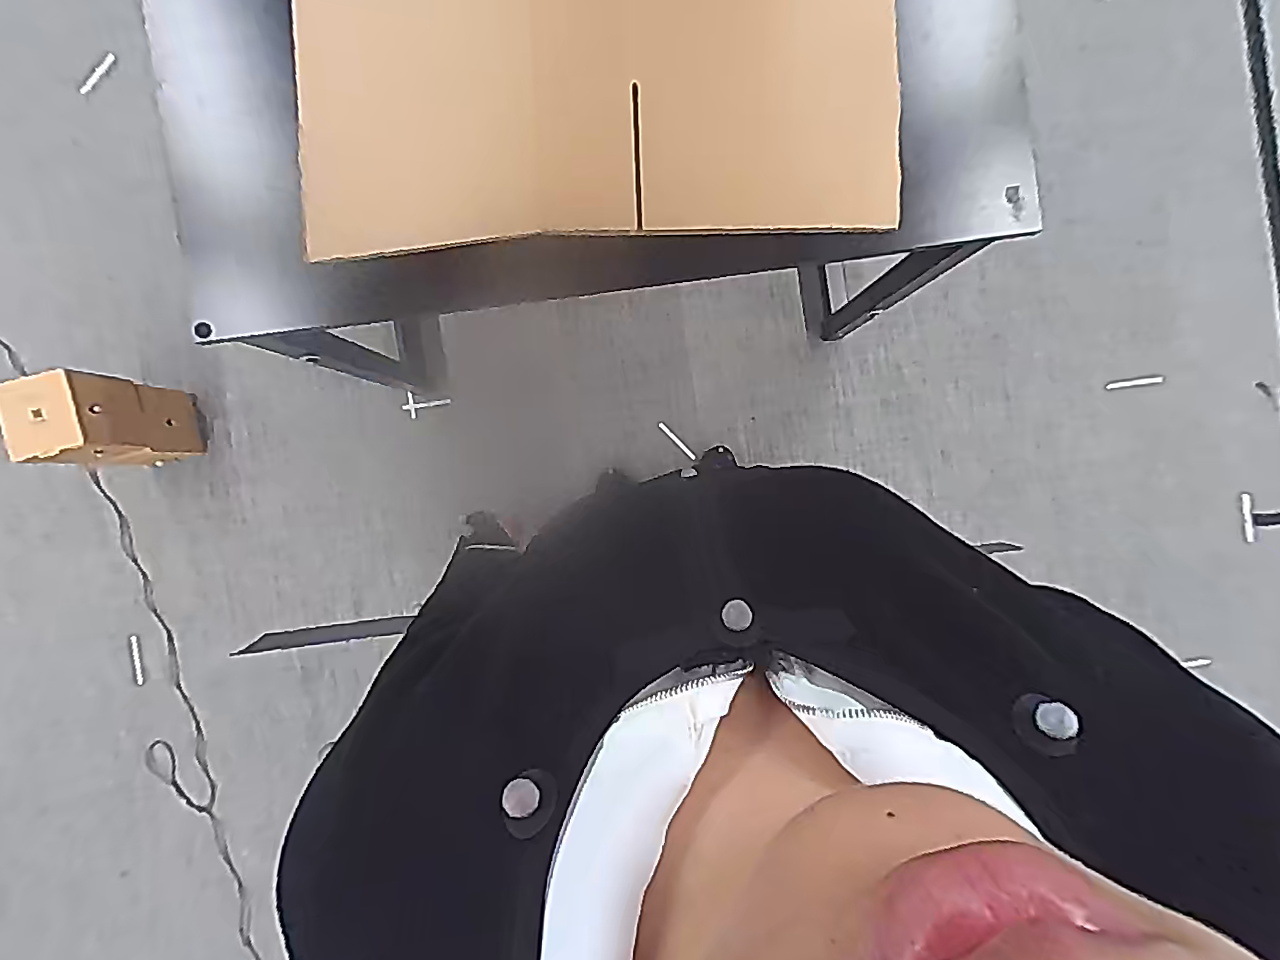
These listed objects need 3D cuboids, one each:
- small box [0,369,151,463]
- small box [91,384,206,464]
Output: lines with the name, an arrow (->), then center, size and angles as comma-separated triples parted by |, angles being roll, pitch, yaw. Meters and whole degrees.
small box -> -1.297, -0.142, 1.253 | 0.168, 0.176, 0.179 | -14, 91, 0
small box -> -1.295, -0.139, 1.416 | 0.168, 0.176, 0.179 | -12, 92, 0
